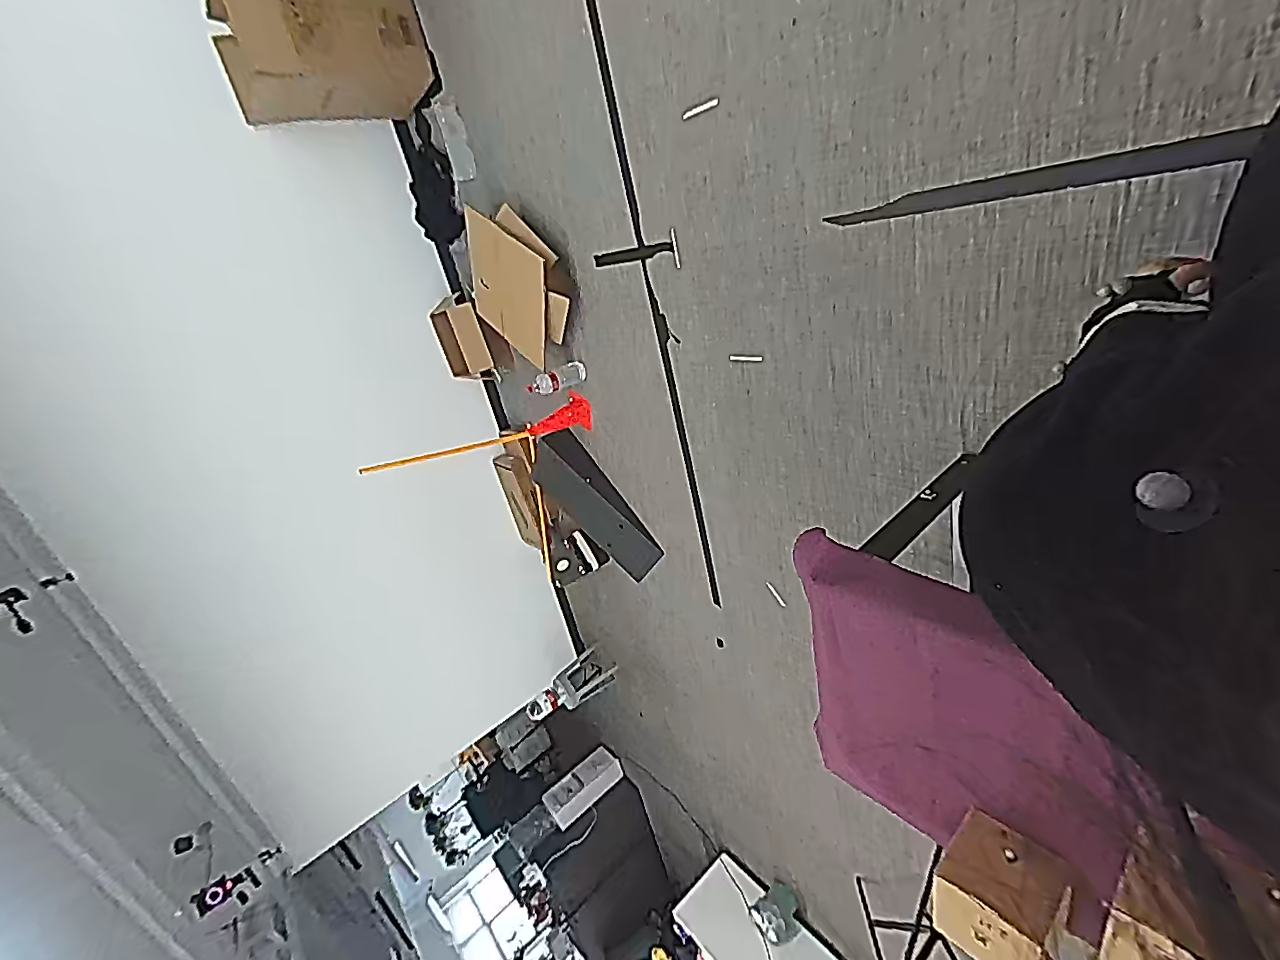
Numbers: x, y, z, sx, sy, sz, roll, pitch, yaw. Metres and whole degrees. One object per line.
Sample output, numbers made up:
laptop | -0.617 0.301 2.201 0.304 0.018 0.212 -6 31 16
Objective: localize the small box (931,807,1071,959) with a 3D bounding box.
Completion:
small box | 0.654 0.755 0.985 0.168 0.176 0.179 16 126 49

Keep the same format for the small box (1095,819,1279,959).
small box | 0.753 0.614 0.731 0.168 0.176 0.179 18 129 49
